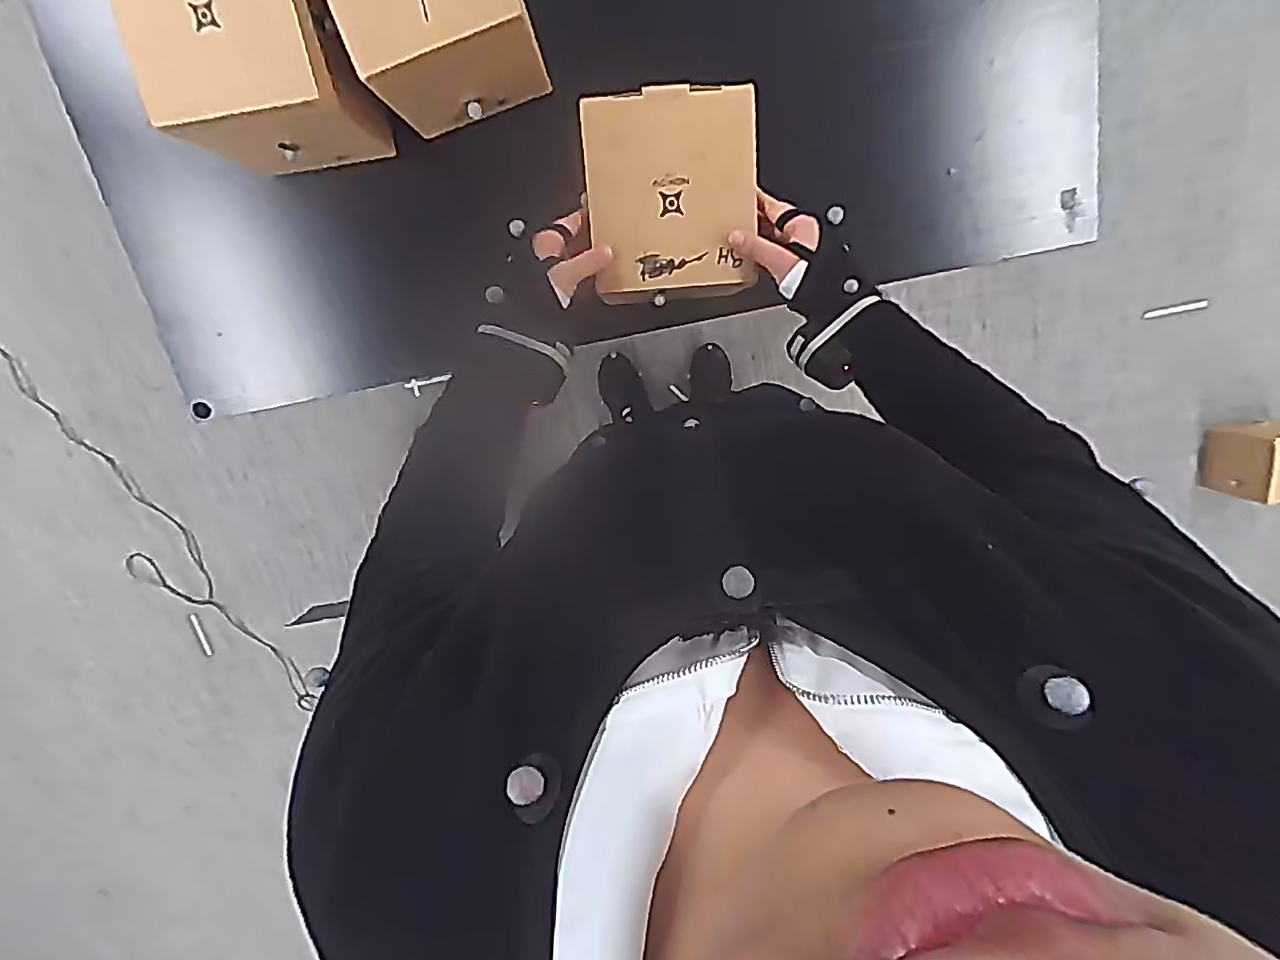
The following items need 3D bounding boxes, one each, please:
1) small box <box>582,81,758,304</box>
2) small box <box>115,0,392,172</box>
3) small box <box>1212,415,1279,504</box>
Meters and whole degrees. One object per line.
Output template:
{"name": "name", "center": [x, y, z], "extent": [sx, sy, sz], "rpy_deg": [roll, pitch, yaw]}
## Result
{"name": "small box", "center": [0.032, -0.299, 0.600], "extent": [0.168, 0.176, 0.179], "rpy_deg": [-4, 103, 2]}
{"name": "small box", "center": [-0.389, -0.444, 0.568], "extent": [0.168, 0.176, 0.179], "rpy_deg": [-9, 104, 2]}
{"name": "small box", "center": [1.639, -0.057, 1.392], "extent": [0.168, 0.176, 0.179], "rpy_deg": [-12, 104, 3]}
